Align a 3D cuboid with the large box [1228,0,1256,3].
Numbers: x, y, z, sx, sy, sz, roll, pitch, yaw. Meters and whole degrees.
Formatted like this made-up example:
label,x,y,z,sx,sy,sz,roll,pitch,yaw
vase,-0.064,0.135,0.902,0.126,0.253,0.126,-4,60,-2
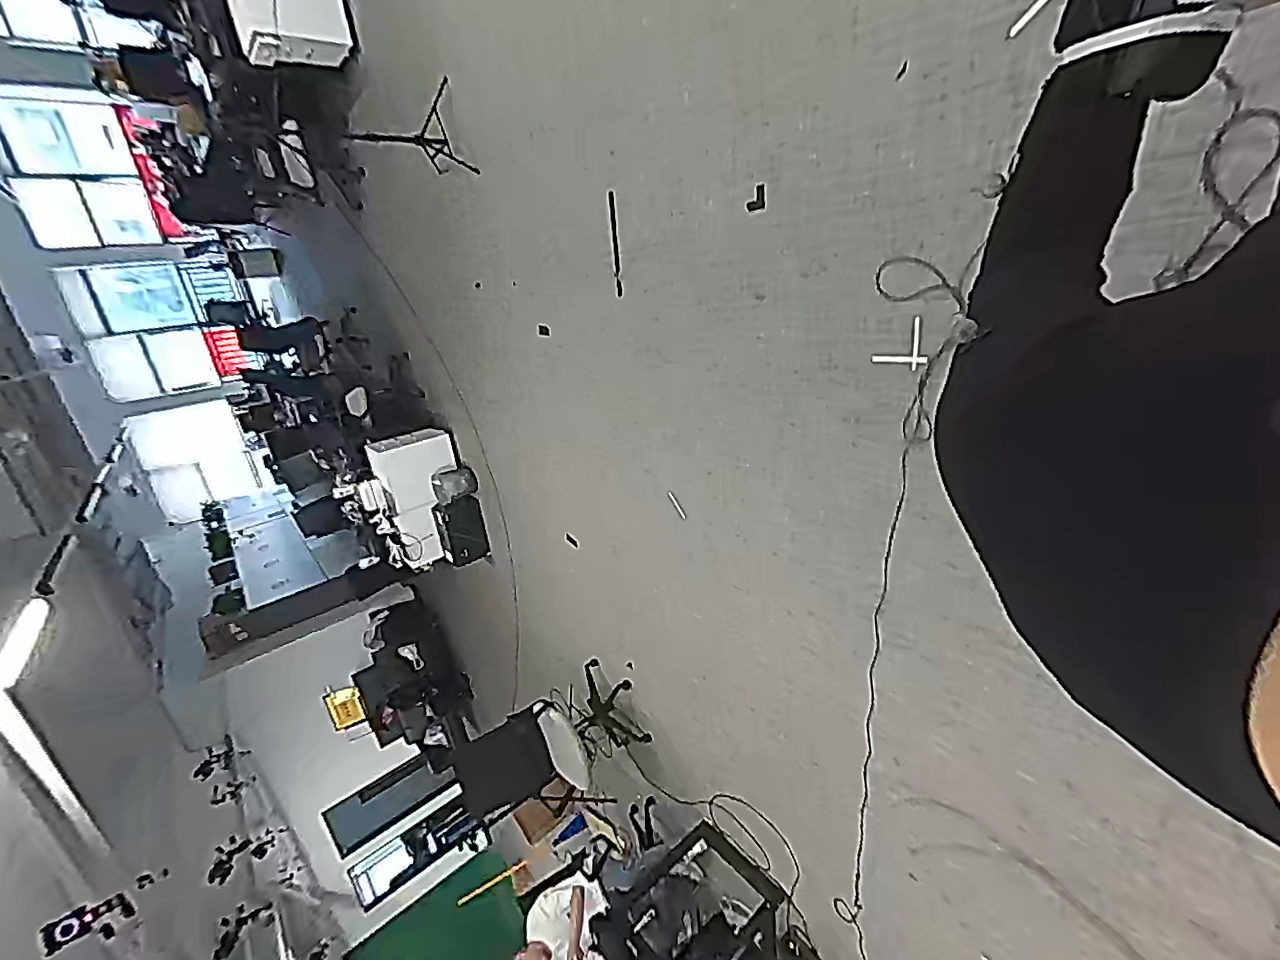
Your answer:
label,x,y,z,sx,sy,sz,roll,pitch,yaw
large box,0.556,-0.501,0.238,0.408,0.320,0.320,13,127,48
